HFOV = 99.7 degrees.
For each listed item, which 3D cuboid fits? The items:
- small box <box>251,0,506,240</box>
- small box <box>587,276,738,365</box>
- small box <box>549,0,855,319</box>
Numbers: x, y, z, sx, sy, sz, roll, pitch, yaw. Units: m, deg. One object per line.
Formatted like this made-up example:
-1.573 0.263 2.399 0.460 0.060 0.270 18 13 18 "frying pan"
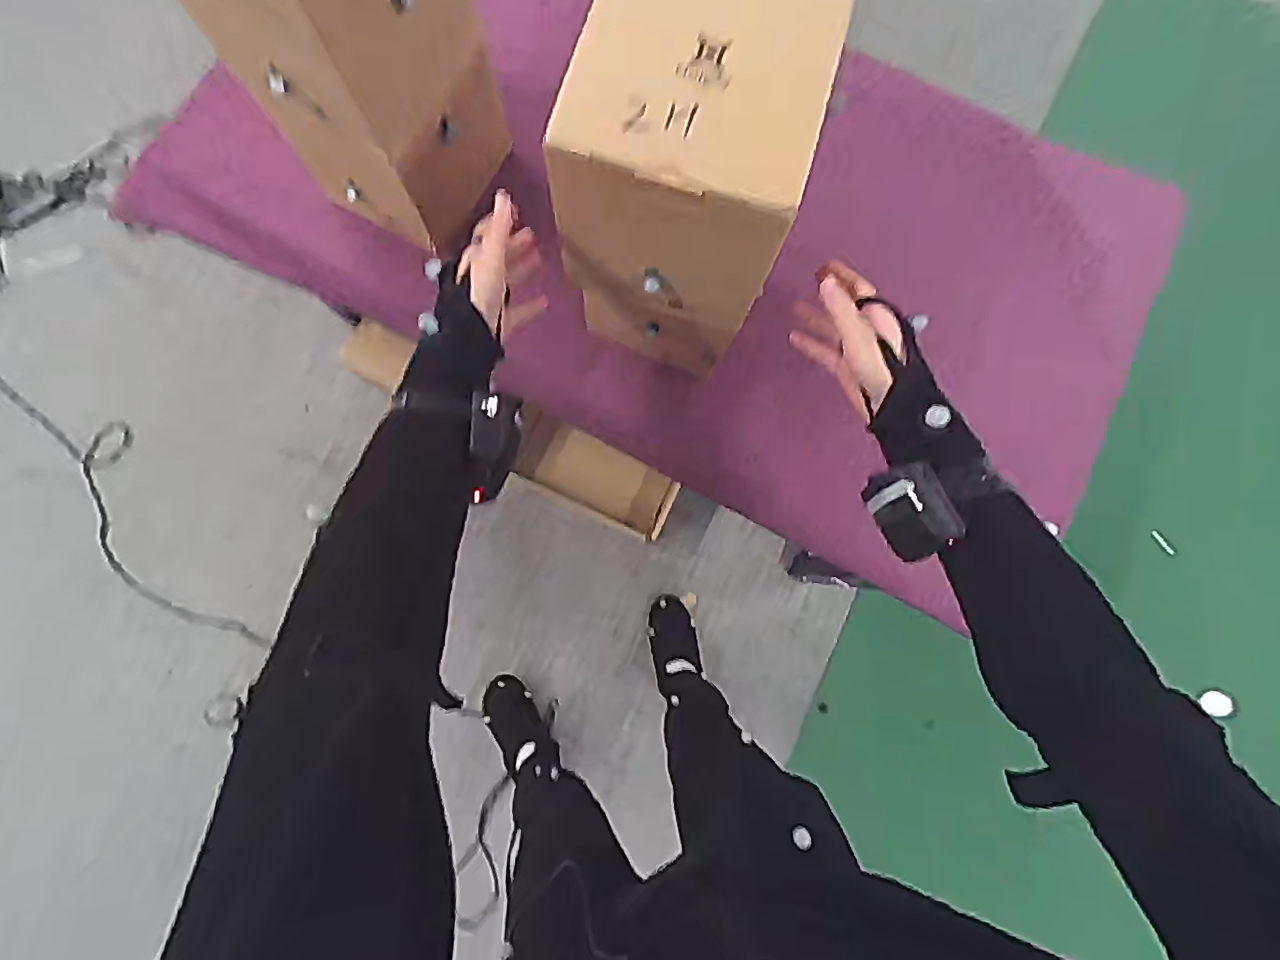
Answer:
-0.267 -0.416 0.606 0.168 0.176 0.179 29 82 2 "small box"
0.049 -0.253 0.593 0.168 0.176 0.179 23 81 1 "small box"
0.040 -0.261 0.426 0.168 0.176 0.179 17 80 1 "small box"
